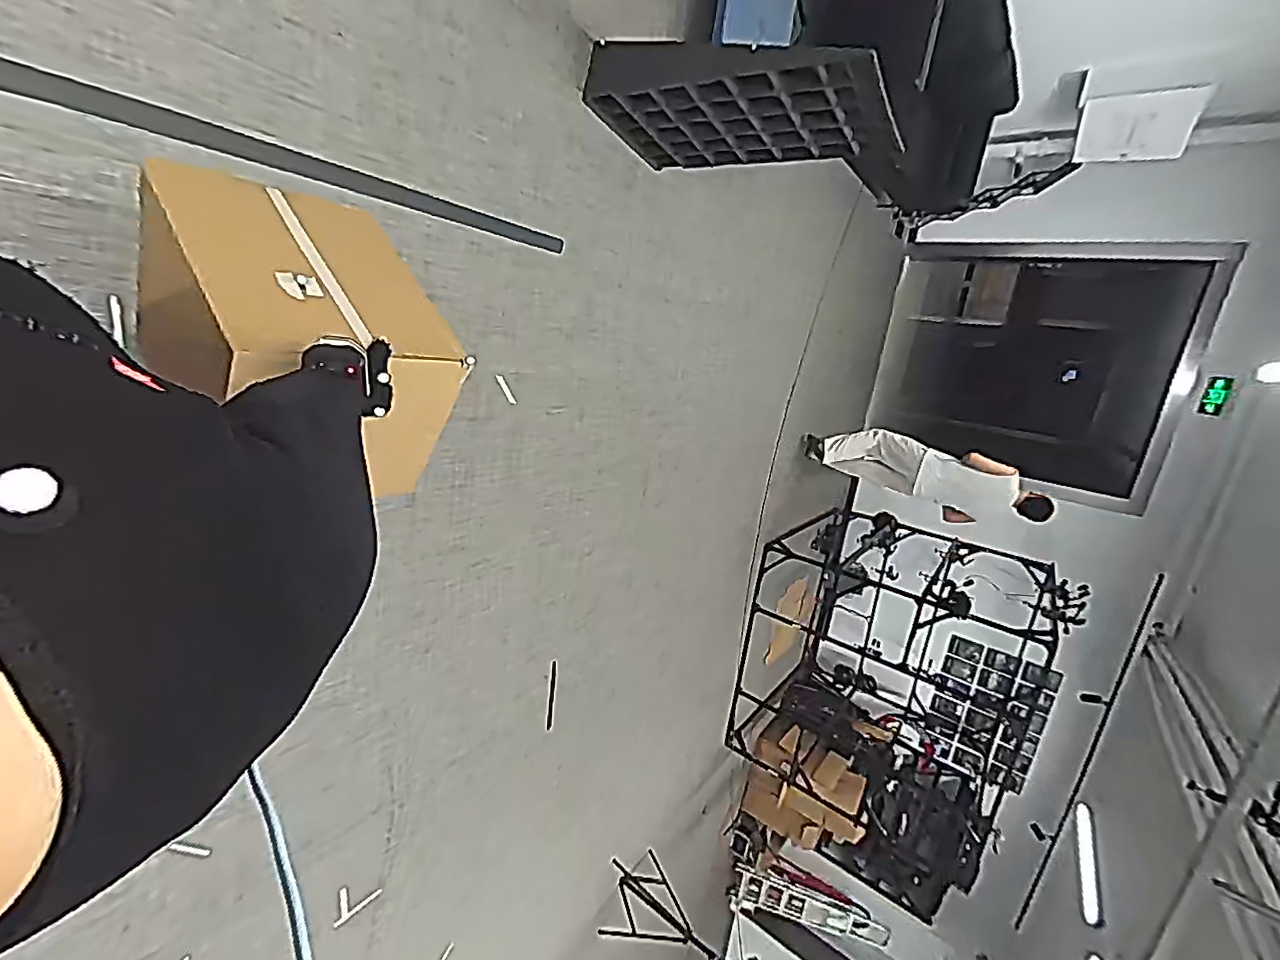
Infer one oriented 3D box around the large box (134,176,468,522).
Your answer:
[{"bbox_3d":[-0.562,-0.199,0.884,0.320,0.408,0.320,-13,149,-51],"label":"large box"}]
